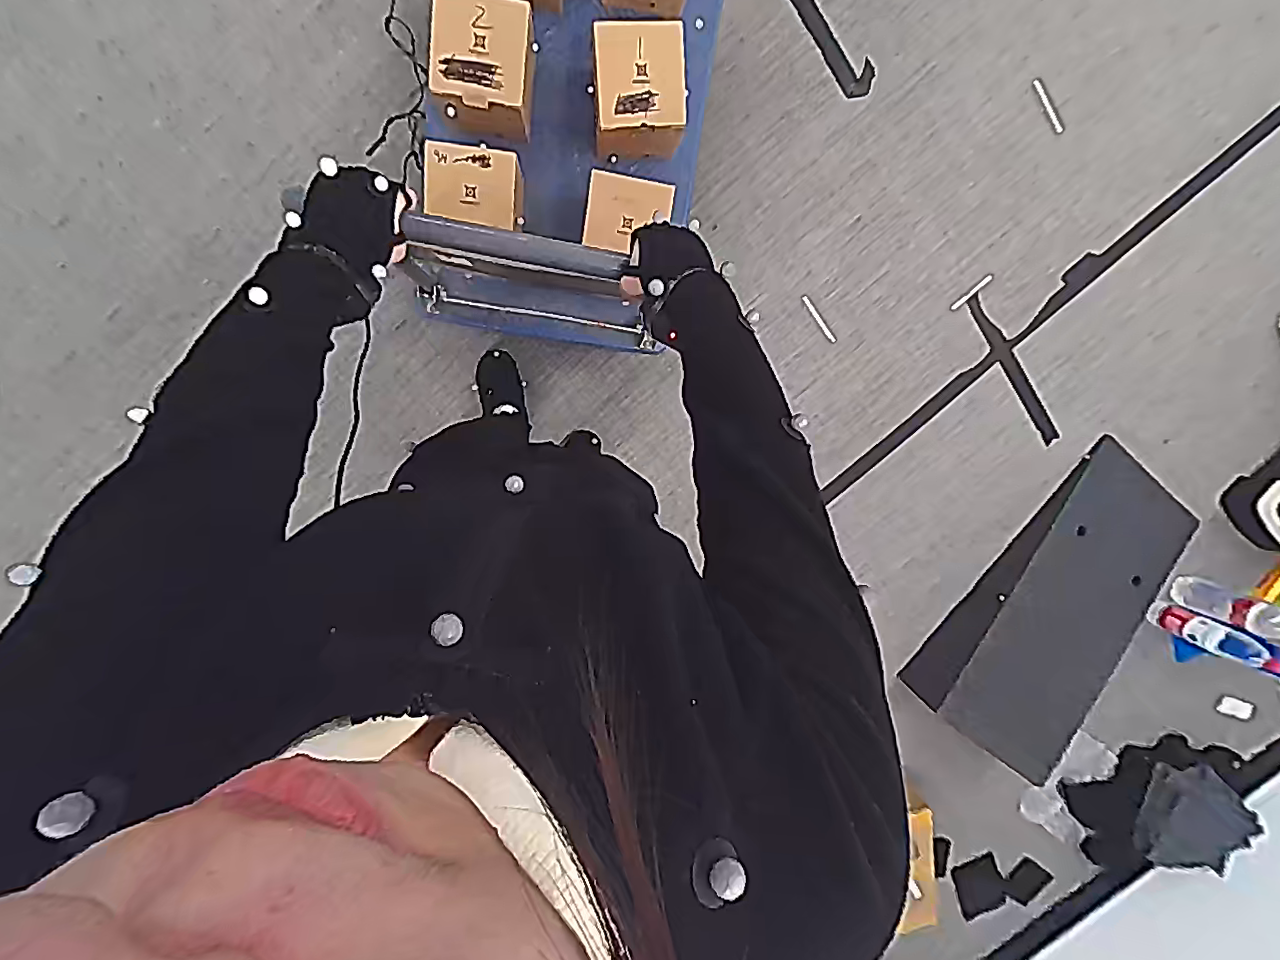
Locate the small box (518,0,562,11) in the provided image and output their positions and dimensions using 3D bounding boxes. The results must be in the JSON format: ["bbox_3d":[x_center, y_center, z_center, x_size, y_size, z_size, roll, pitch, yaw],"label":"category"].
[{"bbox_3d":[-0.216,-1.028,0.992,0.168,0.176,0.179,9,102,-8],"label":"small box"}]

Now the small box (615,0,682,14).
[{"bbox_3d":[0.017,-1.035,1.019,0.168,0.176,0.179,4,102,-7],"label":"small box"}]

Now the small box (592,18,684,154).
[{"bbox_3d":[-0.008,-0.769,1.076,0.168,0.176,0.179,-4,102,-6],"label":"small box"}]

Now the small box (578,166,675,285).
[{"bbox_3d":[-0.035,-0.519,1.131,0.168,0.176,0.179,8,101,-9],"label":"small box"}]

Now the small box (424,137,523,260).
[{"bbox_3d":[-0.328,-0.551,1.086,0.168,0.176,0.179,4,103,-9],"label":"small box"}]
